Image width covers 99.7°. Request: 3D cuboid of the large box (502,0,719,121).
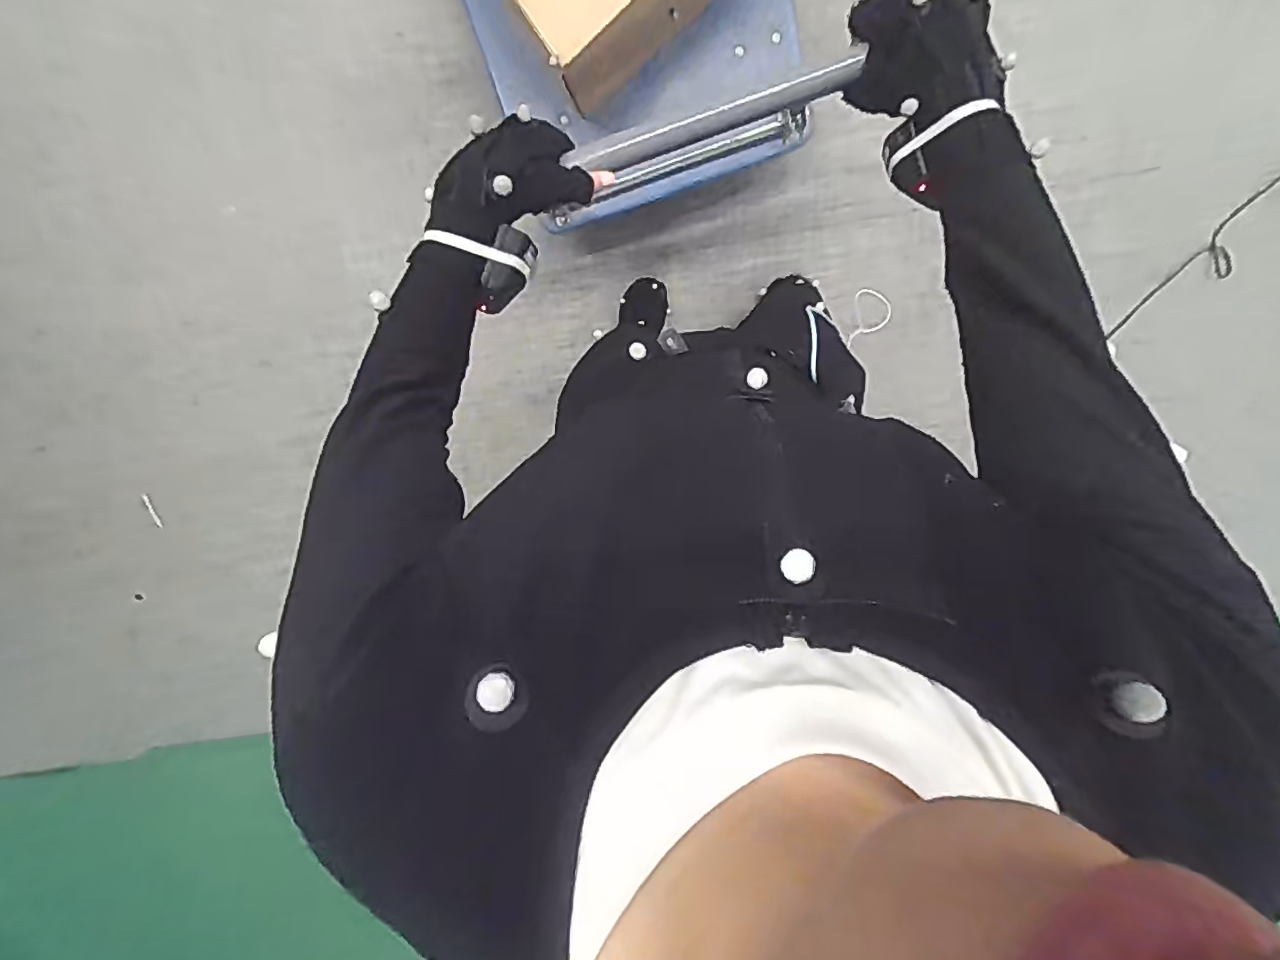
[{"bbox_3d":[-0.039,-0.866,0.837,0.408,0.320,0.320,-35,107,15],"label":"large box"}]
